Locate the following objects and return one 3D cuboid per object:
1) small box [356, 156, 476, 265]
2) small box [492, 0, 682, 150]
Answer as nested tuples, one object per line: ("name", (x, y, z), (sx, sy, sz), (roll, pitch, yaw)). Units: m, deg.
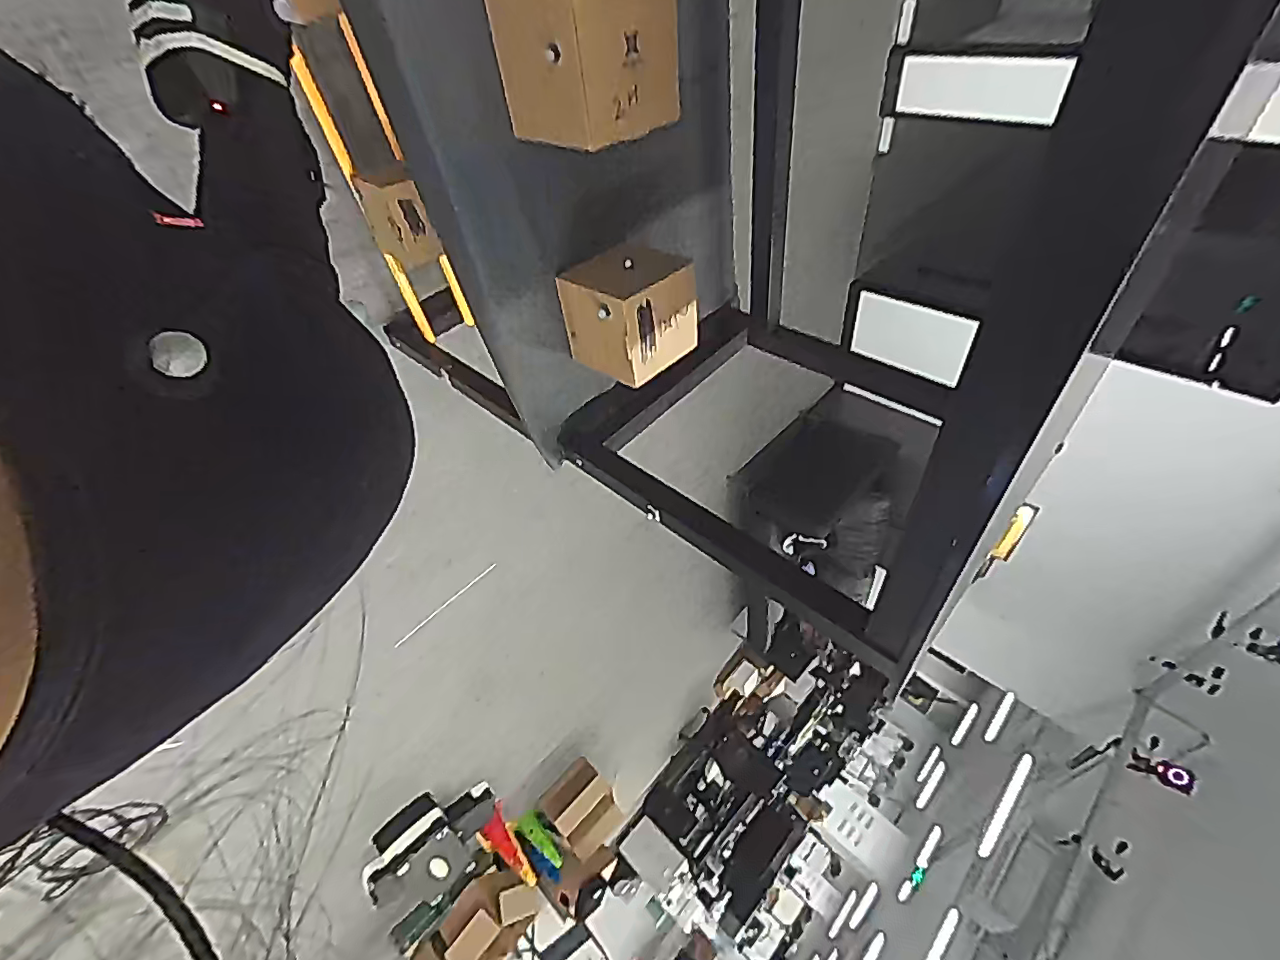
("small box", (-0.505, -0.607, 1.211), (0.179, 0.176, 0.168), (-38, 143, -27))
("small box", (-0.065, -0.545, 0.687), (0.168, 0.176, 0.179), (-38, 143, -27))
